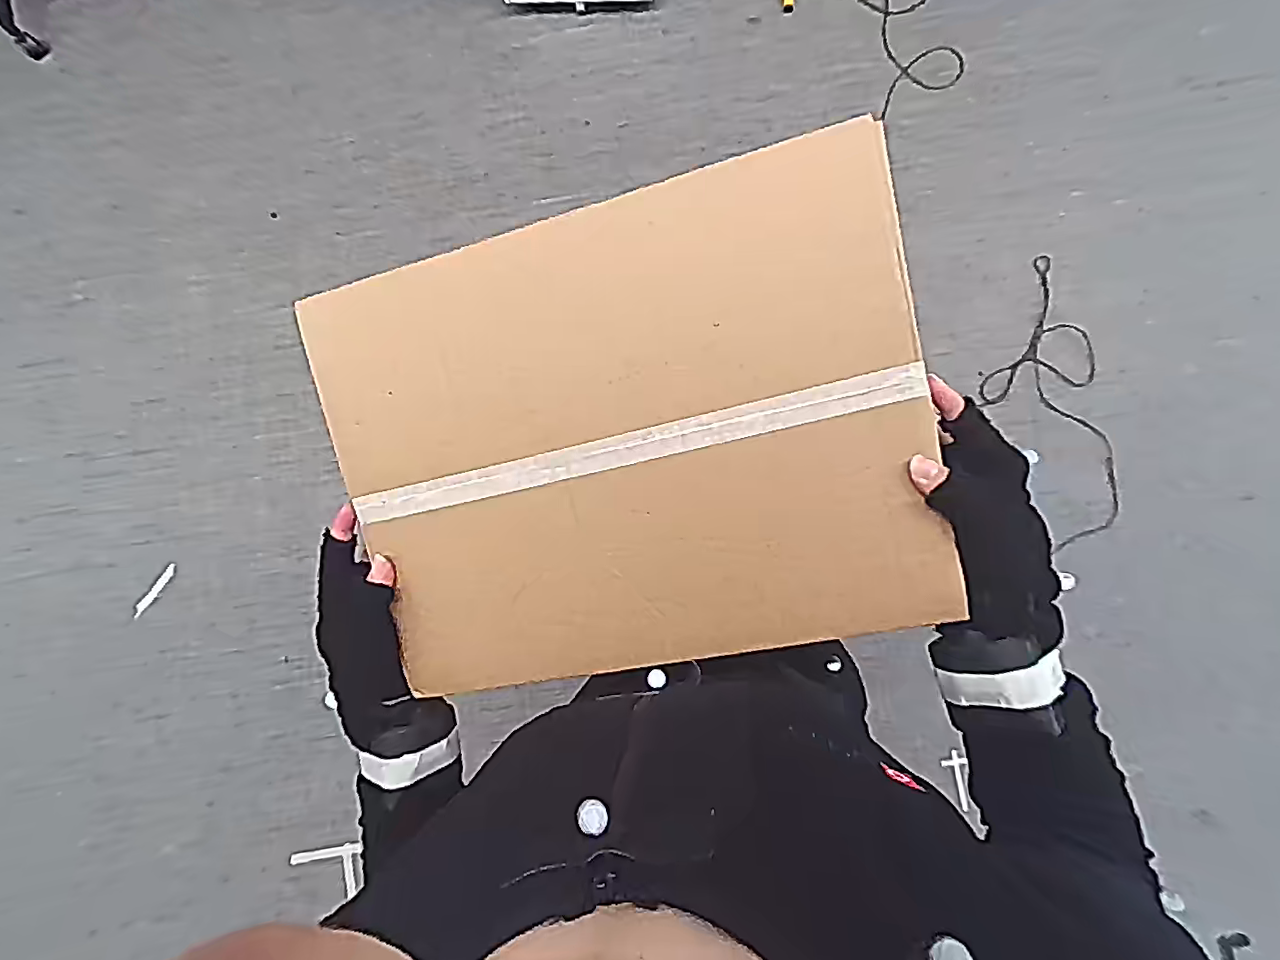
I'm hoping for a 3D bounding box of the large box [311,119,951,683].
[{"bbox_3d":[0.007,-0.050,0.520,0.408,0.320,0.320,-12,96,12],"label":"large box"}]
